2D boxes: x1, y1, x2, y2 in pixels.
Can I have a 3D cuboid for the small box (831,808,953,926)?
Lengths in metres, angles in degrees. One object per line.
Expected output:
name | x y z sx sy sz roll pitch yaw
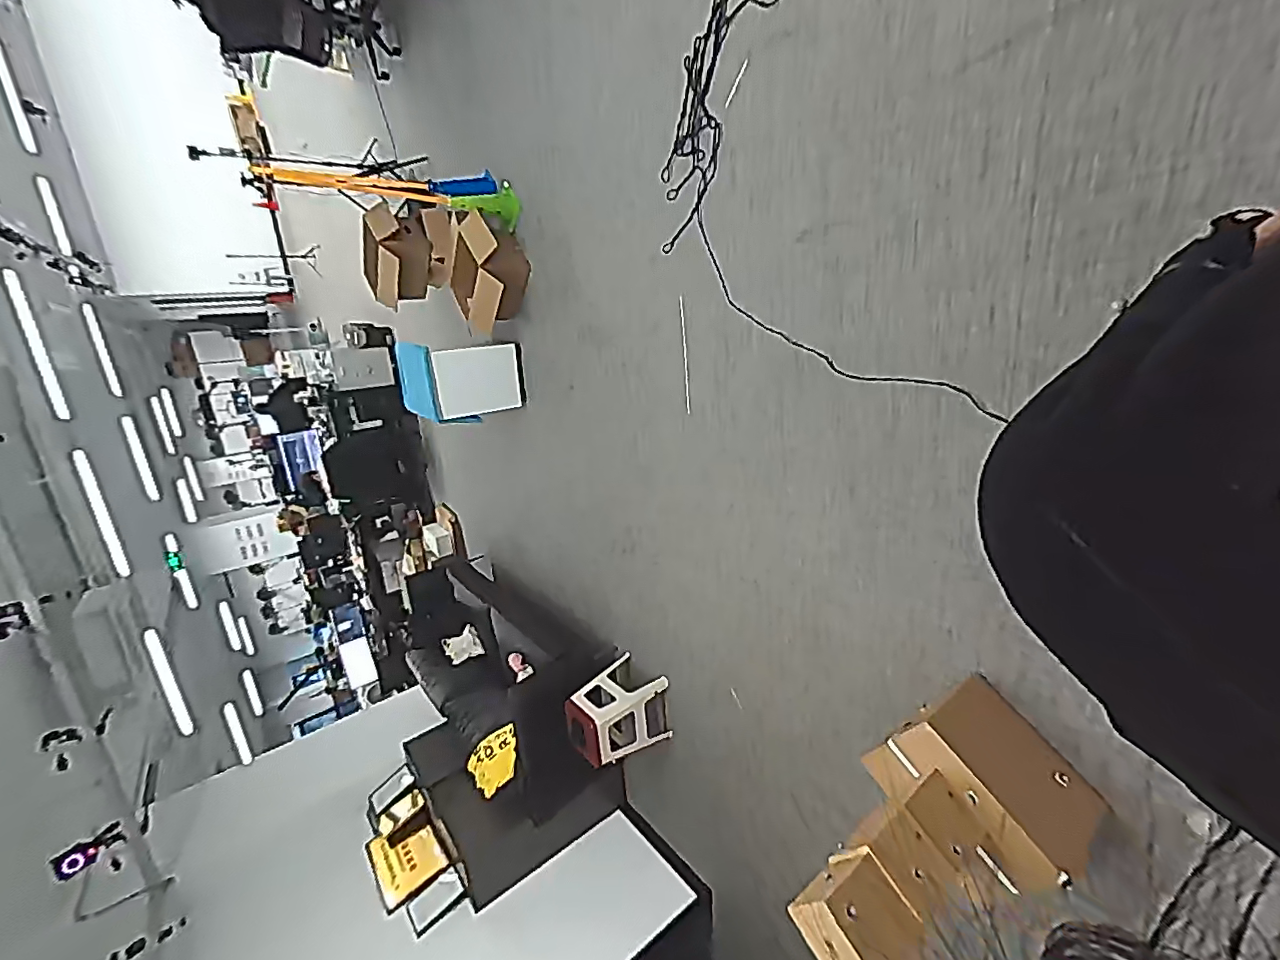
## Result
small box | 0.597 0.913 1.273 0.168 0.176 0.179 52 141 28

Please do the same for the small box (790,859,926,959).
small box | 0.471 0.964 1.179 0.179 0.176 0.168 53 142 27
